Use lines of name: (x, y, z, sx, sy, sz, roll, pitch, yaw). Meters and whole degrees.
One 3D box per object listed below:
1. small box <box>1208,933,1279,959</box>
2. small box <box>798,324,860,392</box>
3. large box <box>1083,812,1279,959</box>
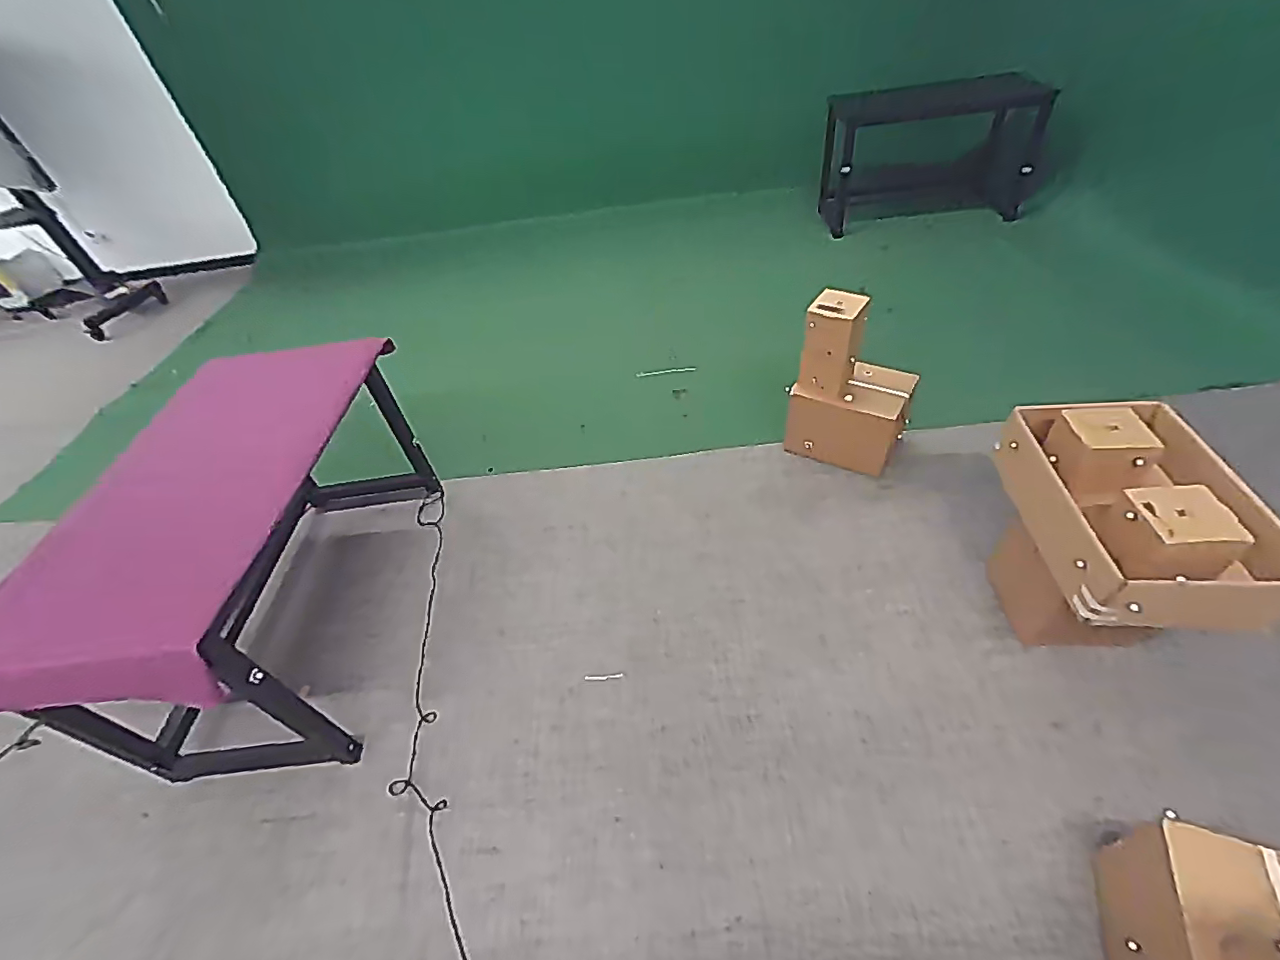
small box: (1.003, 0.812, 0.791, 0.179, 0.176, 0.168, 16, 49, 25)
small box: (0.721, -0.470, 2.083, 0.168, 0.176, 0.179, 24, 55, 27)
large box: (1.100, 0.930, 1.006, 0.320, 0.320, 0.408, 12, 48, 19)
